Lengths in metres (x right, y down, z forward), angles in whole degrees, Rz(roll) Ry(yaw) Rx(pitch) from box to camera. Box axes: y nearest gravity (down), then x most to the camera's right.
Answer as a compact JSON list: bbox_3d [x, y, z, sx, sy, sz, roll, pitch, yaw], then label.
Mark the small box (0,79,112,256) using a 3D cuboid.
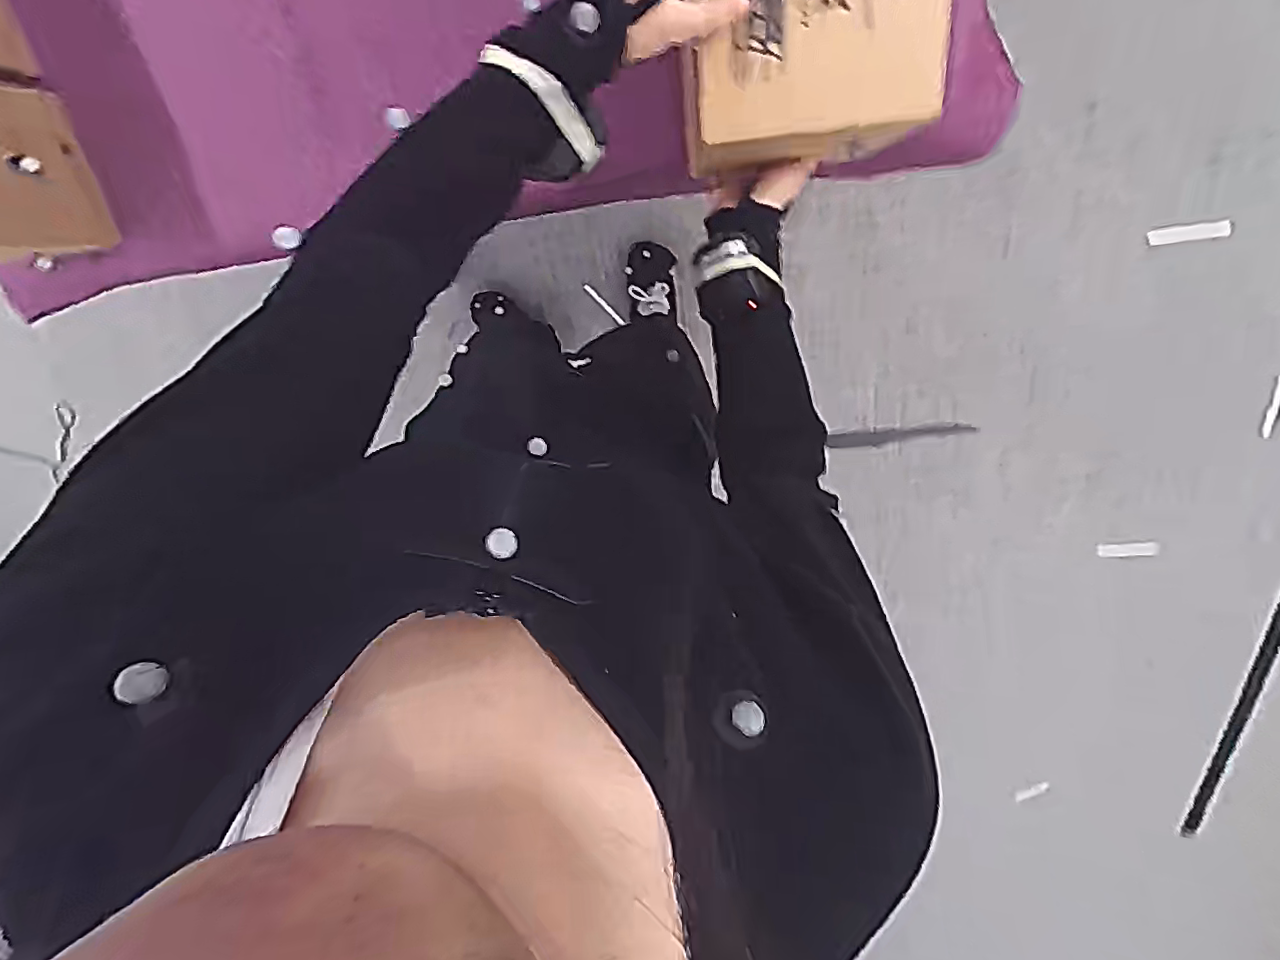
[{"bbox_3d":[-0.756,-0.343,0.600,0.179,0.176,0.168,-4,114,9],"label":"small box"}]
